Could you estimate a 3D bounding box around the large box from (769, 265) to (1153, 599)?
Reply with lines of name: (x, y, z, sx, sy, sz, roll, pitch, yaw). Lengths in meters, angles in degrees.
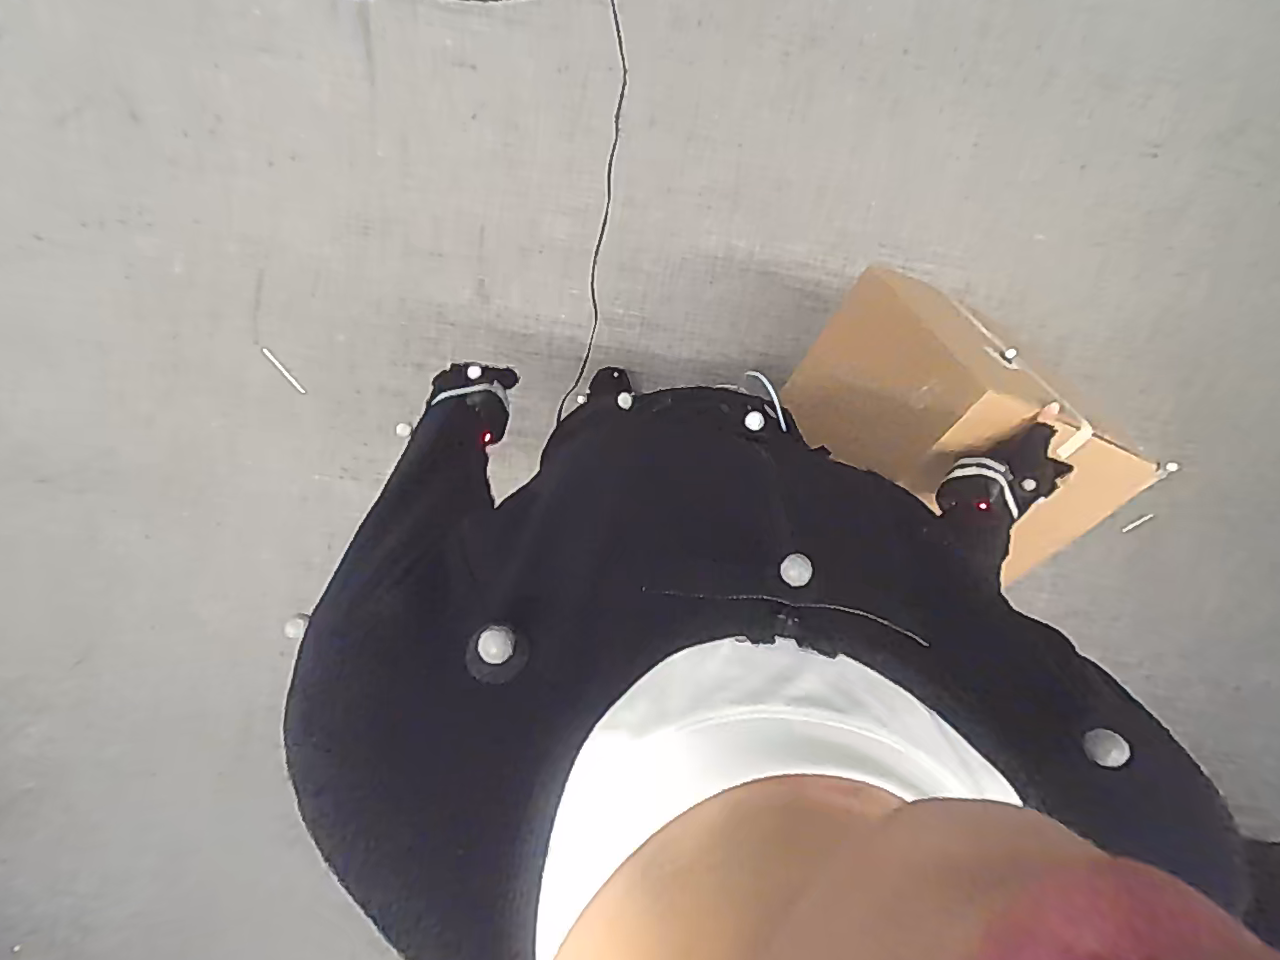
large box: (0.457, -0.080, 0.887, 0.320, 0.408, 0.320, 17, 130, -16)
